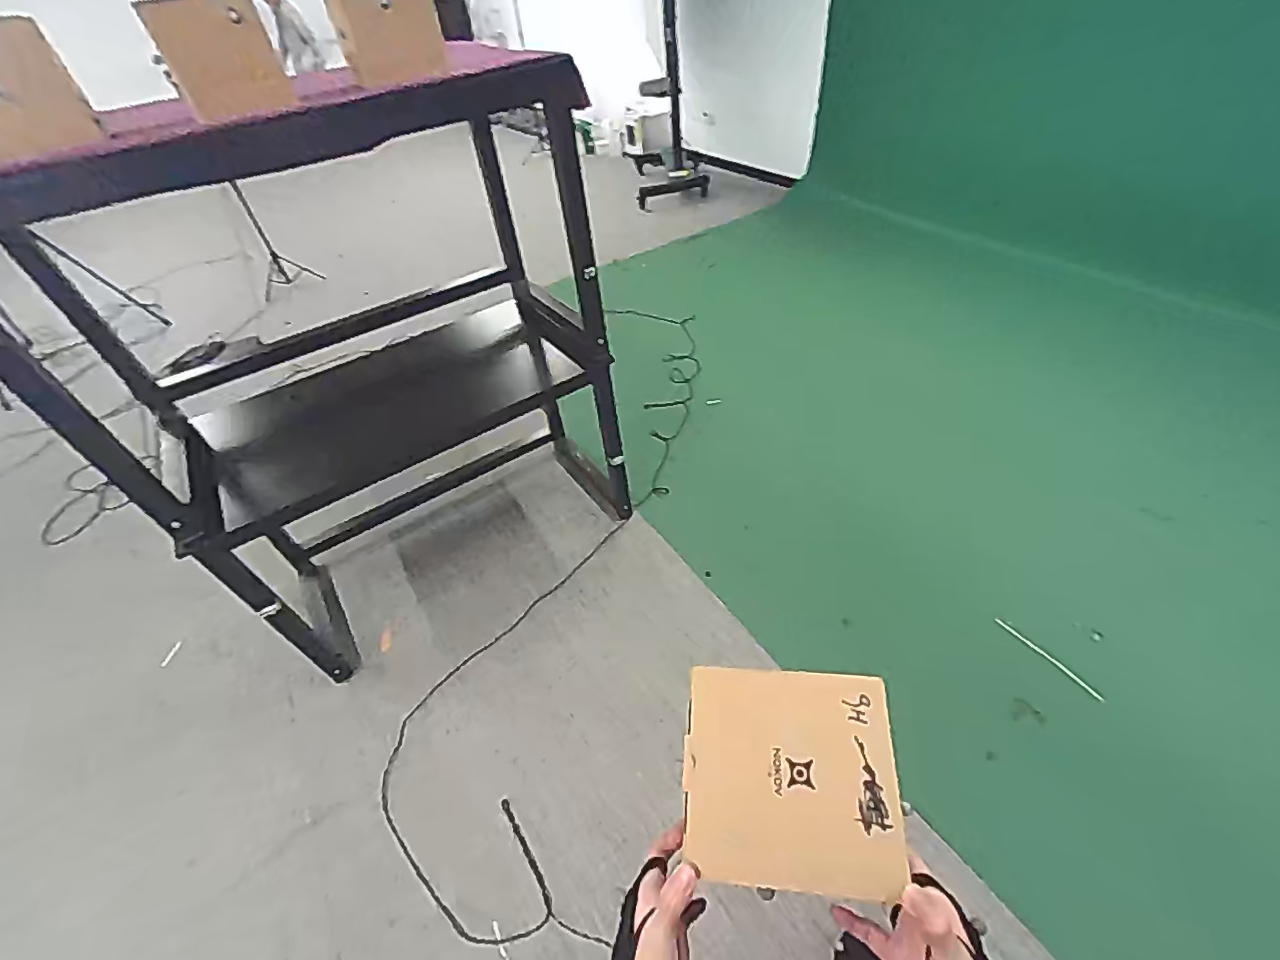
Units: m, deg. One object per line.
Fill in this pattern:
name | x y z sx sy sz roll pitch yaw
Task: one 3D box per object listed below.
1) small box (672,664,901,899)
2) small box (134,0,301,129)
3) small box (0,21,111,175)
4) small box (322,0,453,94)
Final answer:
small box | 0.129 0.288 0.526 0.179 0.176 0.168 1 58 8
small box | -0.761 -0.759 0.985 0.179 0.176 0.168 -29 48 -21
small box | -1.010 -0.615 0.870 0.179 0.176 0.168 -31 49 -21
small box | -0.506 -0.896 1.087 0.179 0.176 0.168 -27 47 -18
